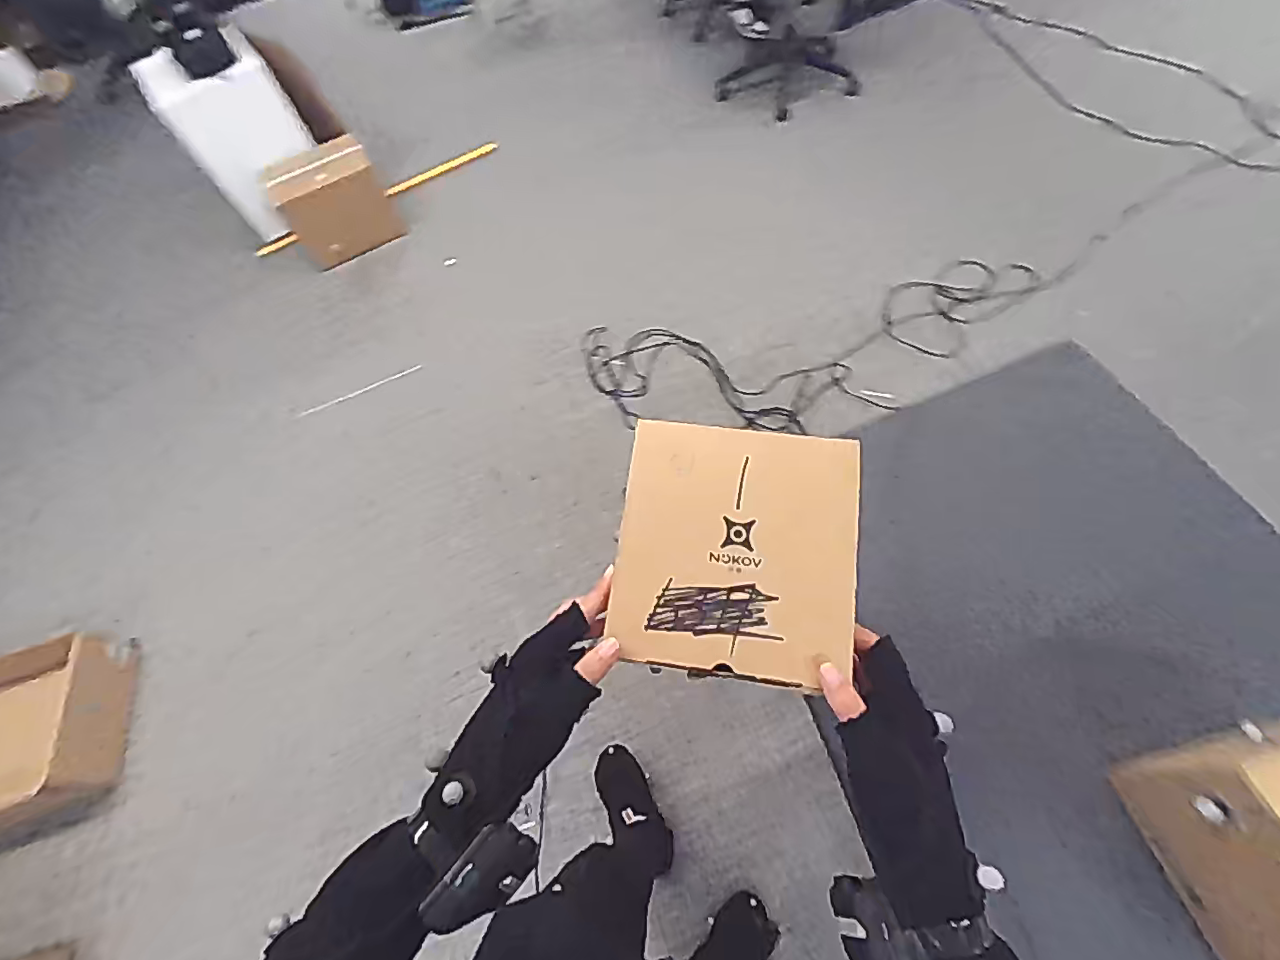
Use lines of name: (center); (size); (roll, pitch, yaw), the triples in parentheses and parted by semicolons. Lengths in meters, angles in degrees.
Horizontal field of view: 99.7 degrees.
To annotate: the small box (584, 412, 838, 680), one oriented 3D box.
small box: (0.060, 0.061, 0.460); (0.168, 0.176, 0.179); (7, 74, 6)
